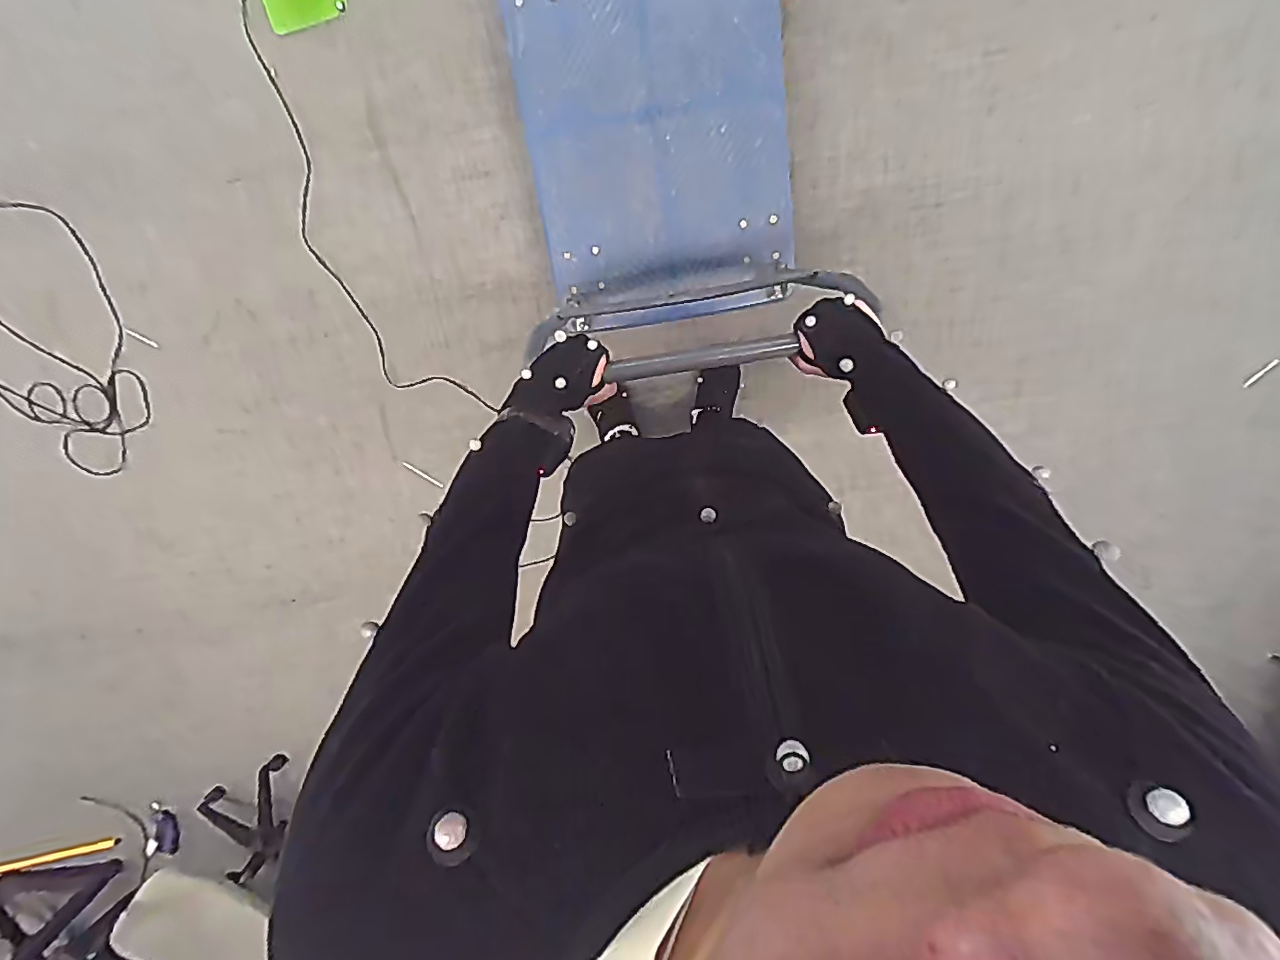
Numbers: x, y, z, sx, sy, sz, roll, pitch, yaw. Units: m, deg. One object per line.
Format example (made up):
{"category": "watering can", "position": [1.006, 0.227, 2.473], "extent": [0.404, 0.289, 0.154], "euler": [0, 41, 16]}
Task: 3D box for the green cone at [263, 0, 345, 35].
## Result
{"category": "green cone", "position": [-0.828, -1.134, 1.113], "extent": [0.202, 0.368, 0.200], "euler": [-12, 108, 9]}
